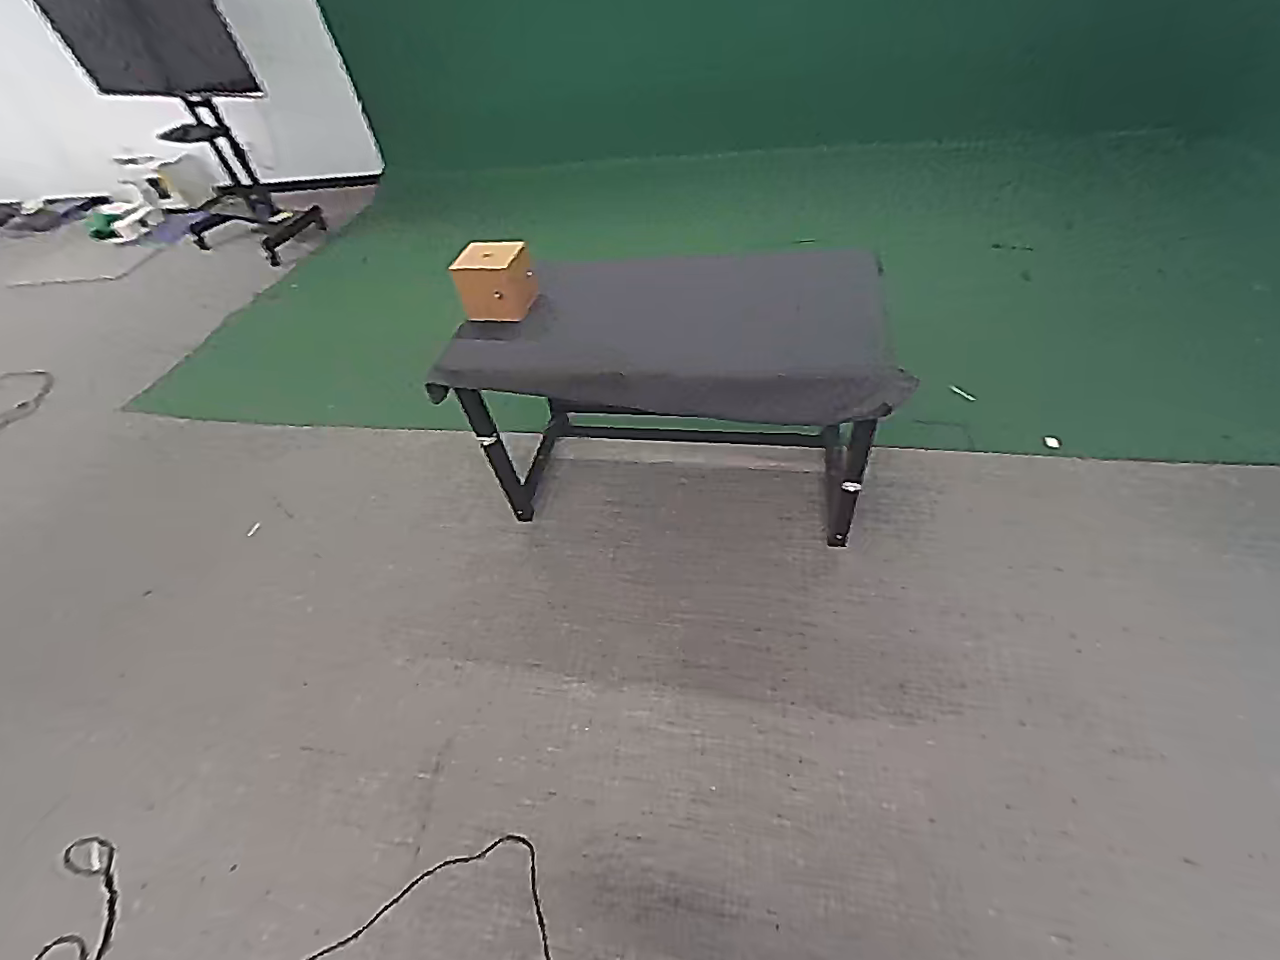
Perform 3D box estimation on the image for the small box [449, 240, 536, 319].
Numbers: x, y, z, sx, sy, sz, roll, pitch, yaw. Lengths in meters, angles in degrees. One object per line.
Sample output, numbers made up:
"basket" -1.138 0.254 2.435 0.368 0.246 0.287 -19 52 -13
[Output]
"small box" -0.429 -0.594 1.609 0.179 0.176 0.168 6 48 14
